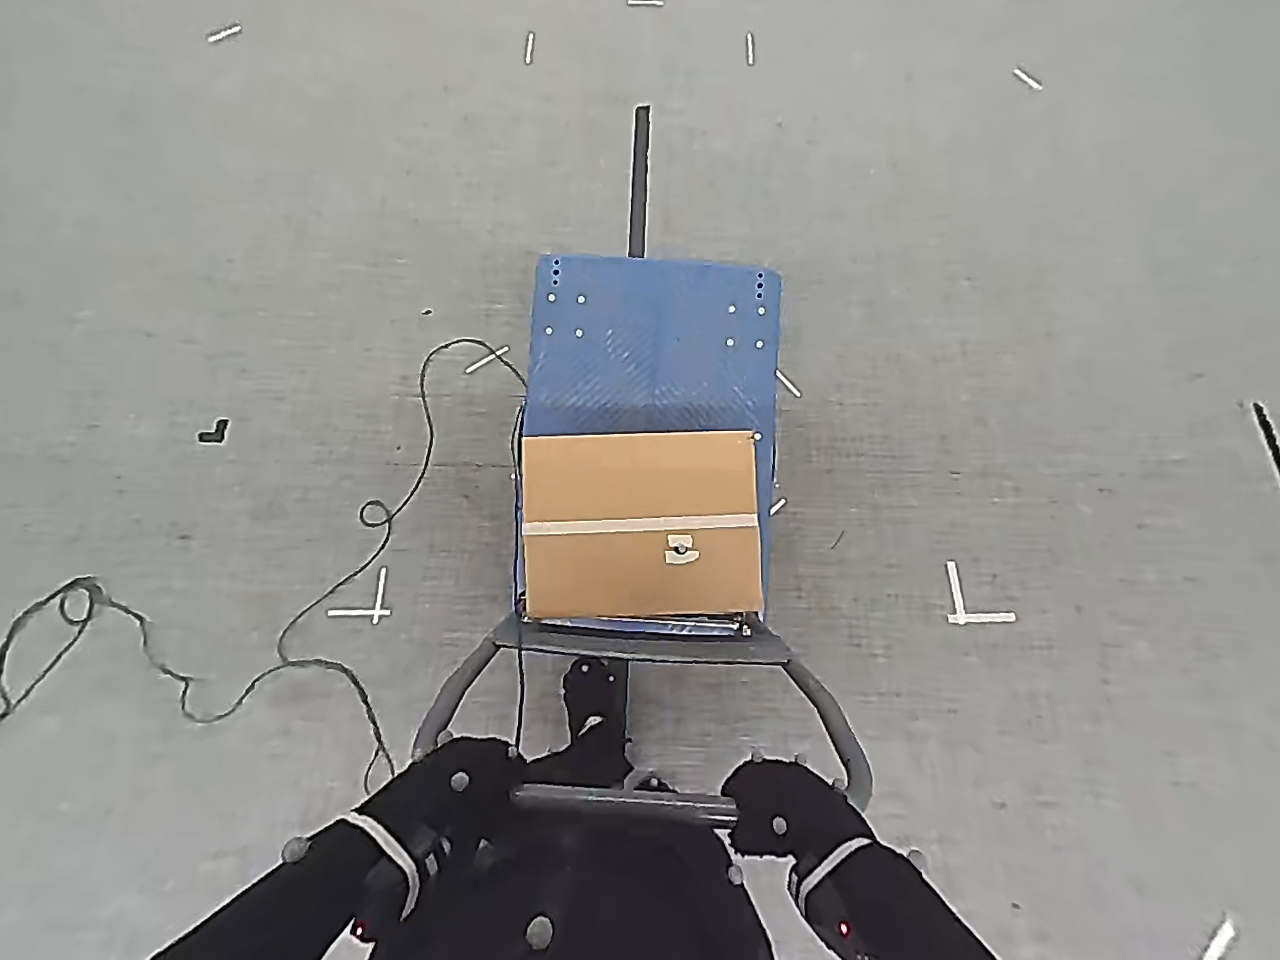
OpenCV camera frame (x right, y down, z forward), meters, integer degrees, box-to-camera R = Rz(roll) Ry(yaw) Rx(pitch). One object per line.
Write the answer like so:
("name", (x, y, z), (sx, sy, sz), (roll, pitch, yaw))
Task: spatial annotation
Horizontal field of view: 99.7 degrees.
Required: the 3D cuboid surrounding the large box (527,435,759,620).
("large box", (-0.001, 0.091, 1.100), (0.408, 0.320, 0.320), (-2, 87, -2))
